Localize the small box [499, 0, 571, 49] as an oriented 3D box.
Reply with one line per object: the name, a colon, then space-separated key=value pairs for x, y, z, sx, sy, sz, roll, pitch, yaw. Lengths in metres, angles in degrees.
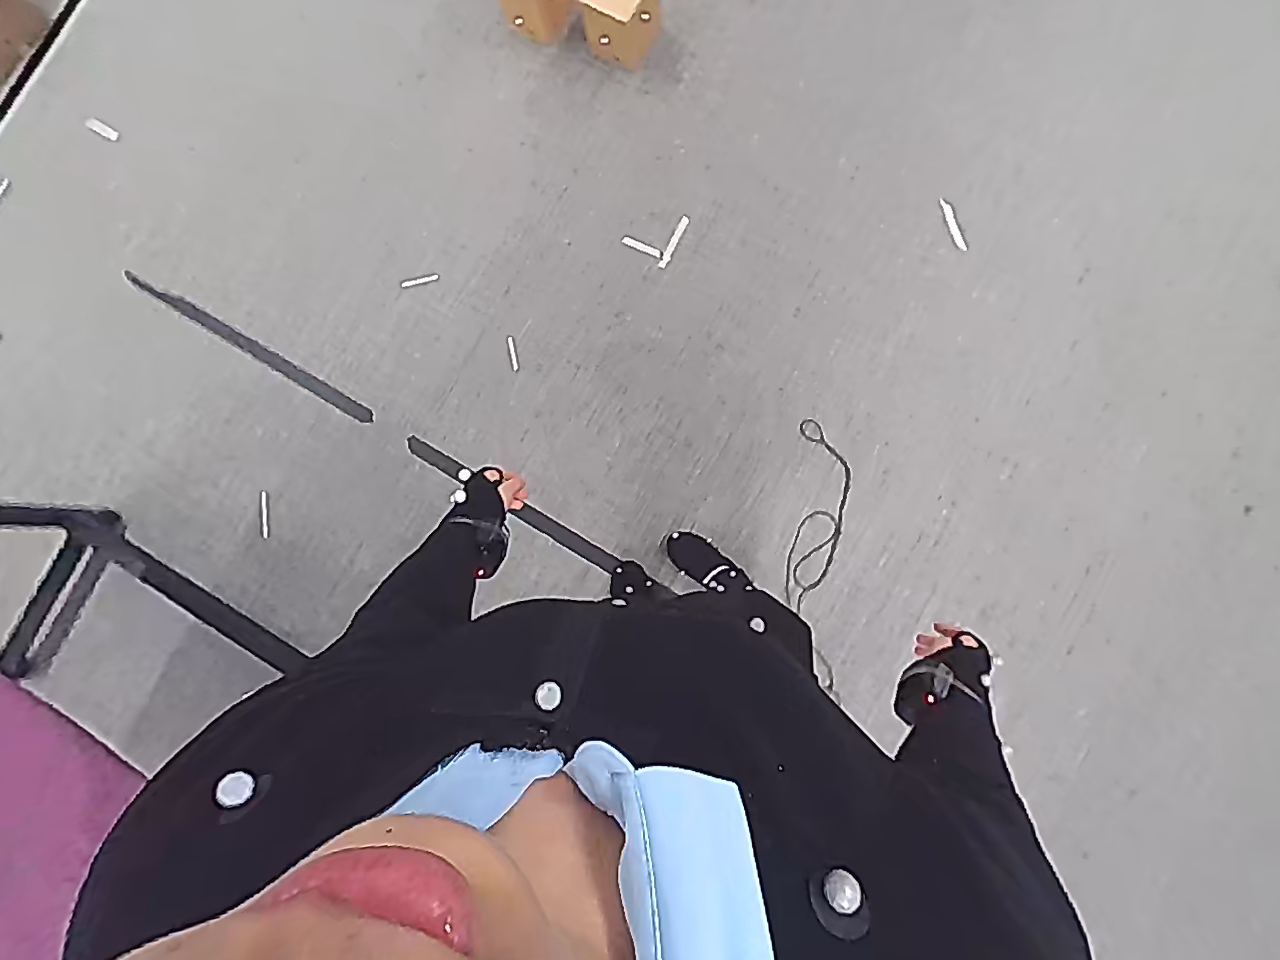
small box: x=-0.331 y=-1.511 z=1.684 sx=0.168 sy=0.176 sz=0.179 roll=31 pitch=87 yaw=9

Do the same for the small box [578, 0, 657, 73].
small box: x=-0.059 y=-1.394 z=1.636 sx=0.168 sy=0.176 sz=0.179 roll=32 pitch=87 yaw=8
